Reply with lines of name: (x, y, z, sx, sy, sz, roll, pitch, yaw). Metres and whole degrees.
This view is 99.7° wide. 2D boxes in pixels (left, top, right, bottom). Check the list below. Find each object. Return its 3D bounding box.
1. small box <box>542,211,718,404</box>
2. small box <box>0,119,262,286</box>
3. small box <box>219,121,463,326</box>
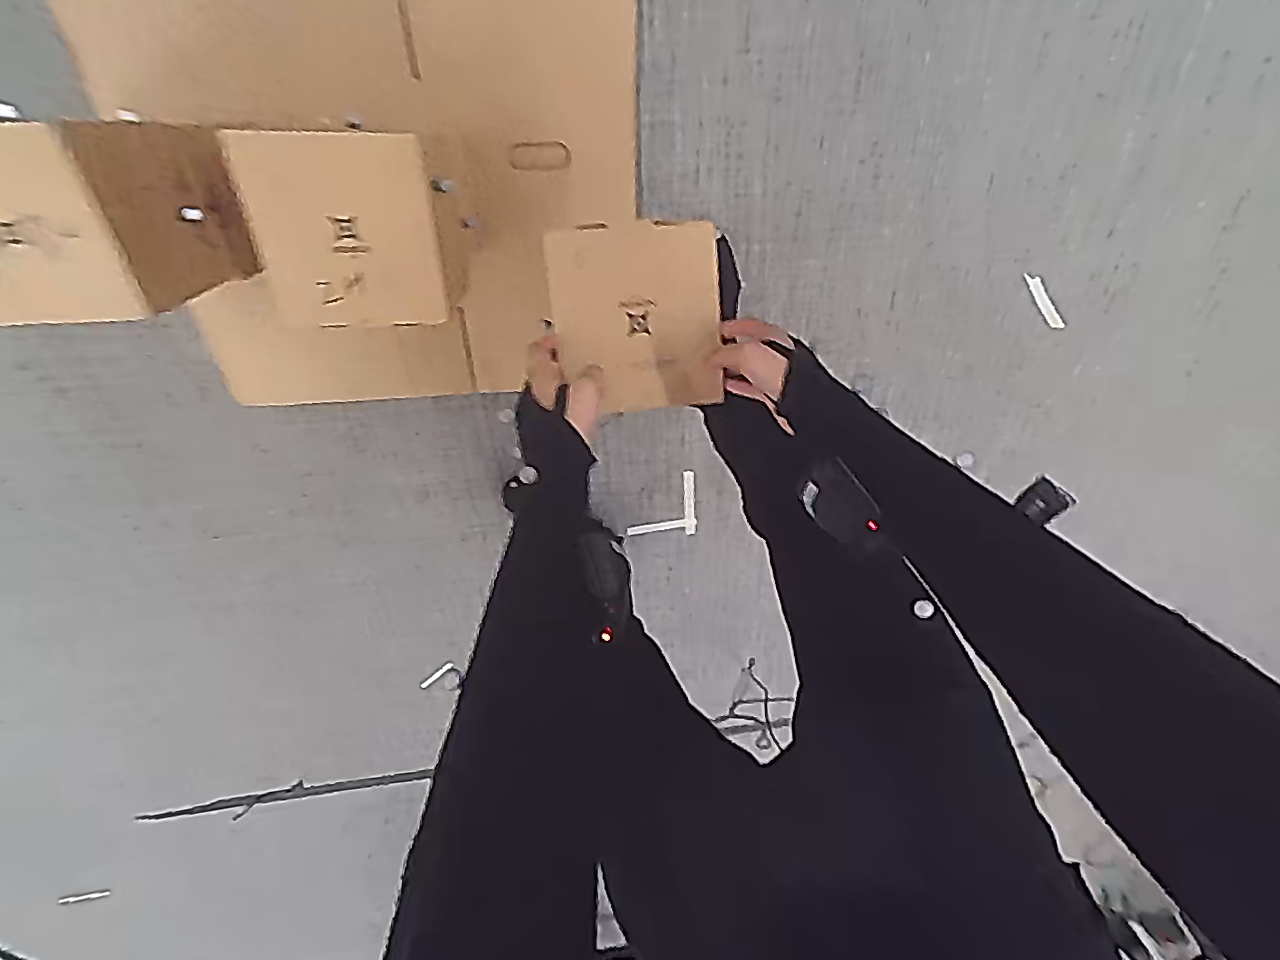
small box: (-0.019, -0.182, 0.606, 0.168, 0.176, 0.179, -7, 103, -8)
small box: (-0.590, -0.352, 0.679, 0.179, 0.176, 0.168, -4, 125, -6)
small box: (-0.294, -0.279, 0.581, 0.168, 0.176, 0.179, -3, 125, -7)
